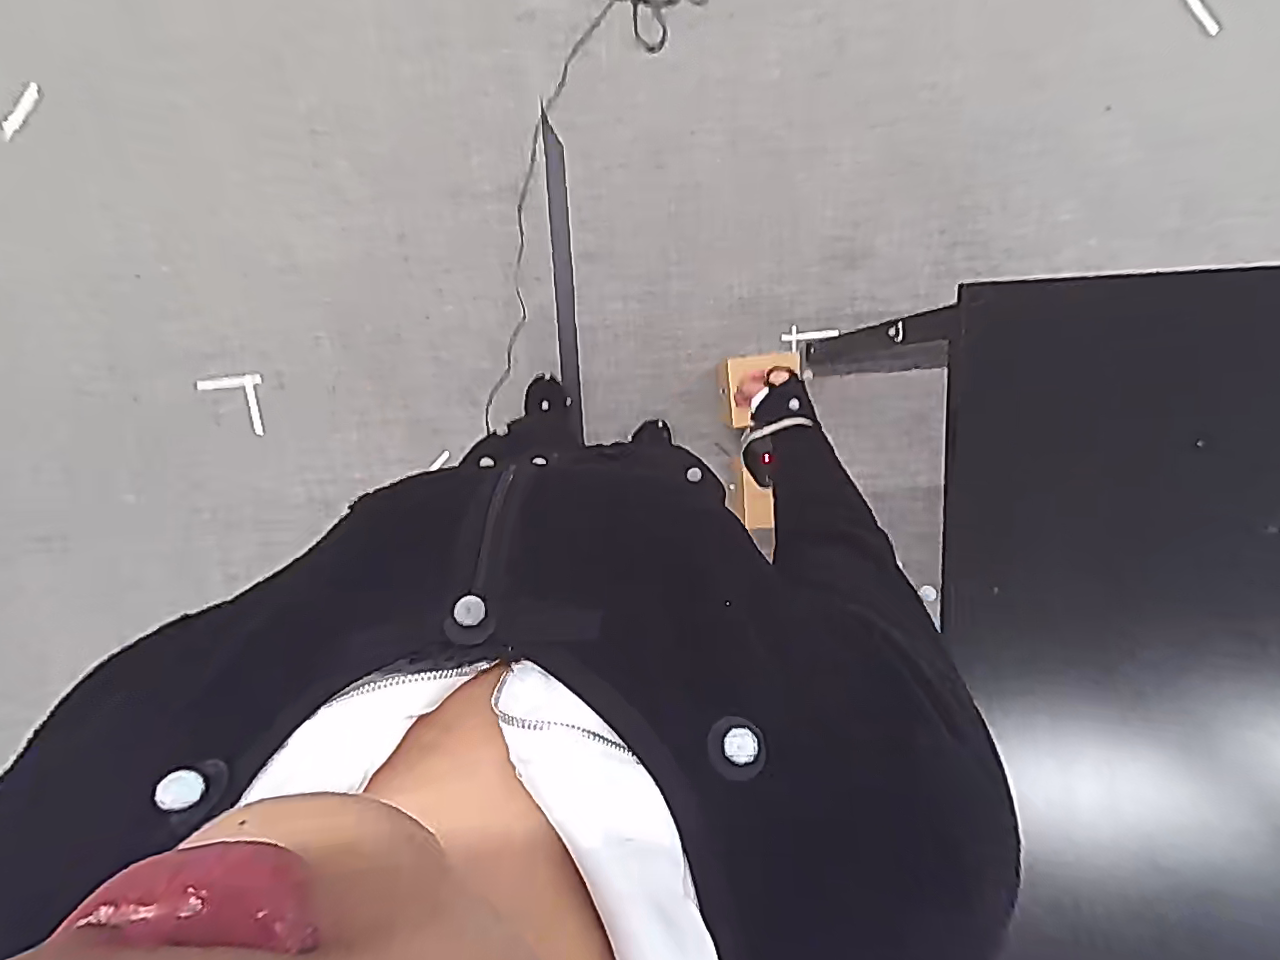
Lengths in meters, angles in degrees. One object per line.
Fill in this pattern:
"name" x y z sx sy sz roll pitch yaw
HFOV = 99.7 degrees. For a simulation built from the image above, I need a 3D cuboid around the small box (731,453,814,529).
"small box" 0.344 0.023 1.422 0.179 0.176 0.168 -5 99 2
